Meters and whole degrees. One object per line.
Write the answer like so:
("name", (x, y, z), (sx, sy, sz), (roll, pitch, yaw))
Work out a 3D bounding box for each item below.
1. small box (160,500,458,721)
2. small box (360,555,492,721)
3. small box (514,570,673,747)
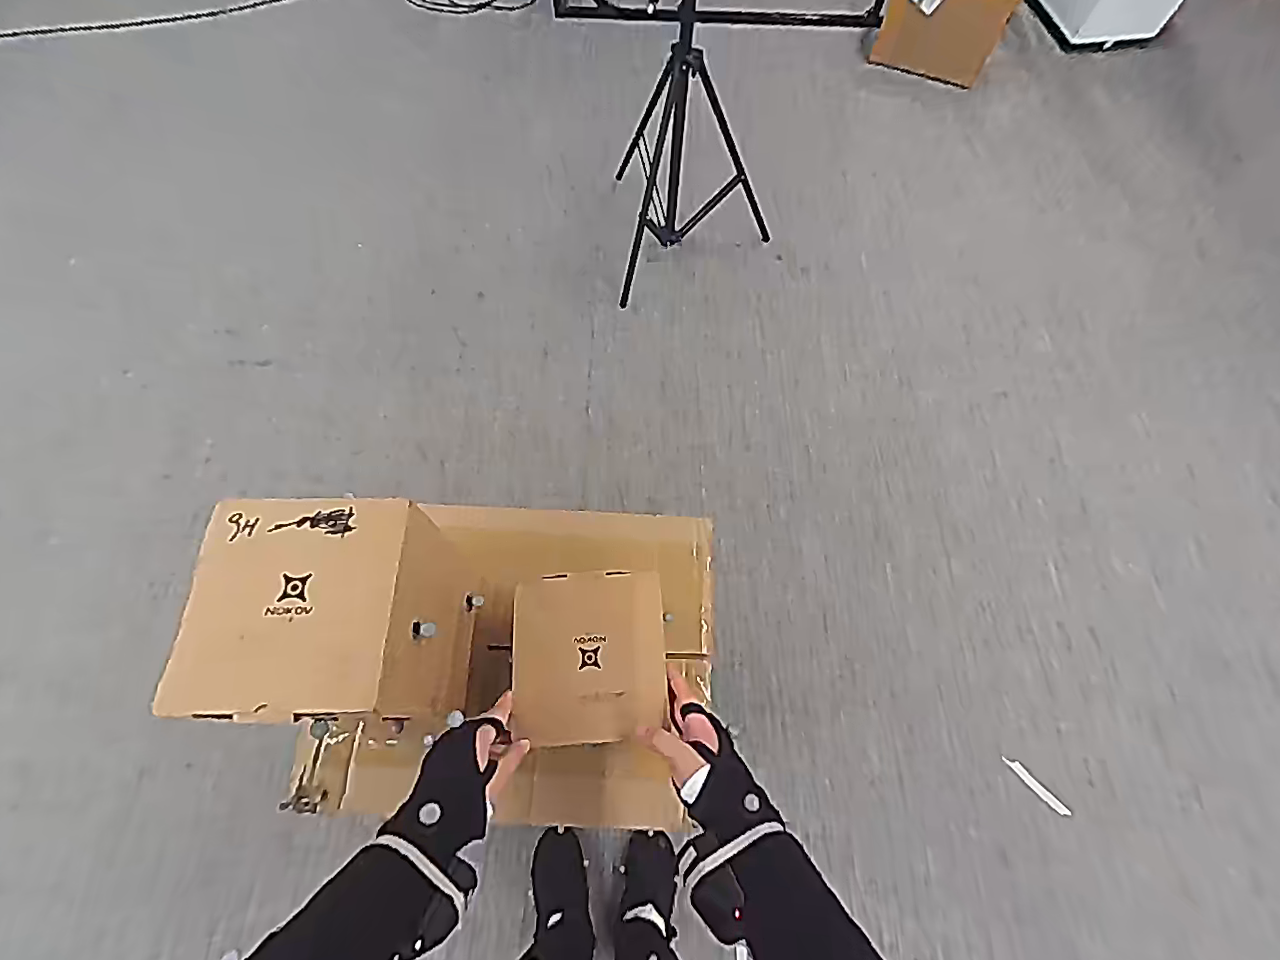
("small box", (-0.282, 0.128, 0.512), (0.168, 0.176, 0.179), (0, 67, -2))
("small box", (-0.285, 0.197, 0.661), (0.168, 0.176, 0.179), (1, 67, -1))
("small box", (-0.053, 0.217, 0.657), (0.168, 0.176, 0.179), (-4, 69, -1))
